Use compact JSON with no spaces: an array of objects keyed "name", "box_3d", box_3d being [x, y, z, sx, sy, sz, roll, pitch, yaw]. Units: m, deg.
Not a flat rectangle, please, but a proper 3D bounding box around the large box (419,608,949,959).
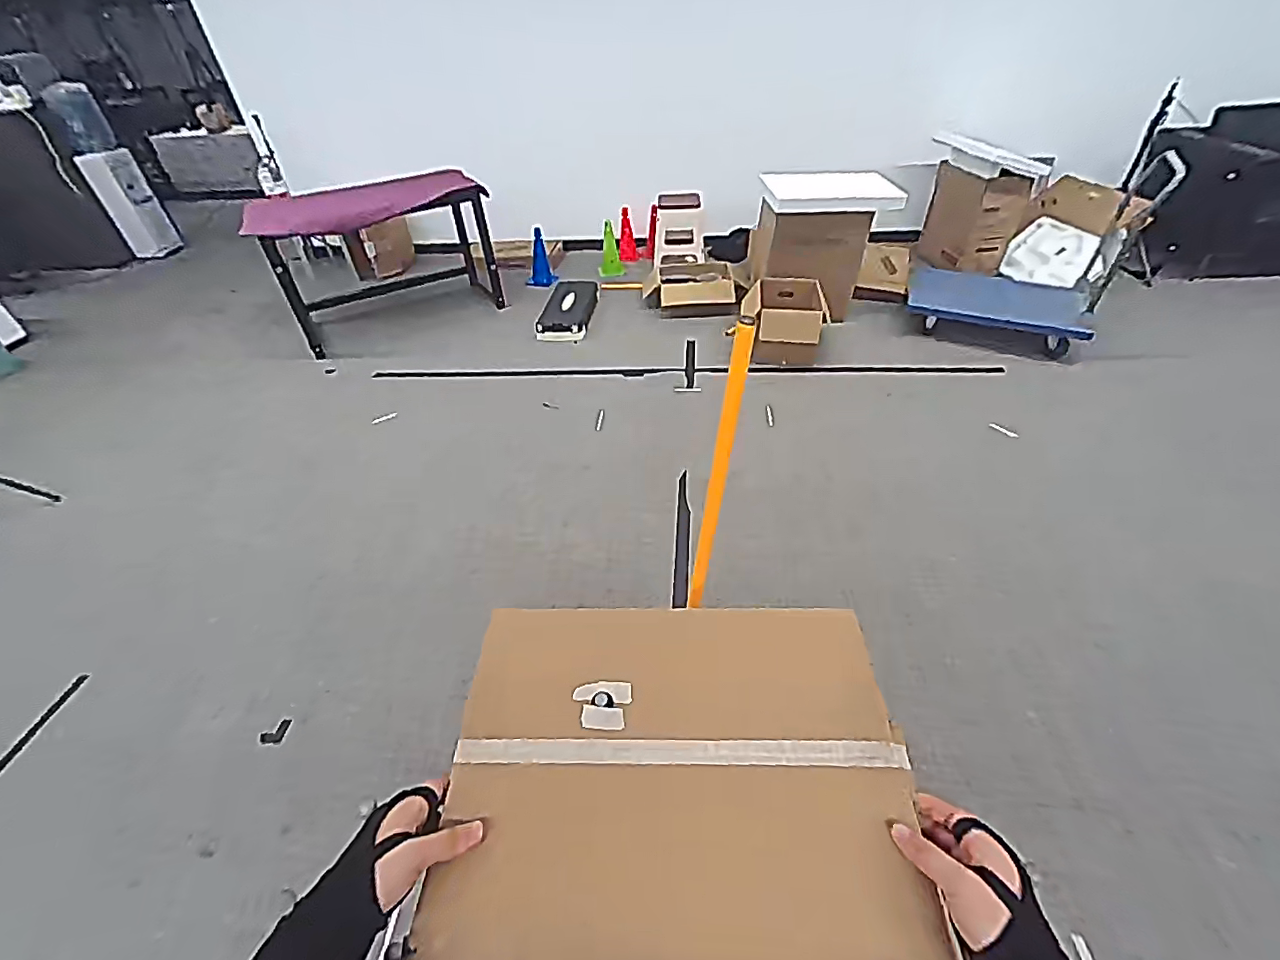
[{"name":"large box","box_3d":[0.044,0.367,0.608,0.408,0.320,0.320,-3,42,5]}]
